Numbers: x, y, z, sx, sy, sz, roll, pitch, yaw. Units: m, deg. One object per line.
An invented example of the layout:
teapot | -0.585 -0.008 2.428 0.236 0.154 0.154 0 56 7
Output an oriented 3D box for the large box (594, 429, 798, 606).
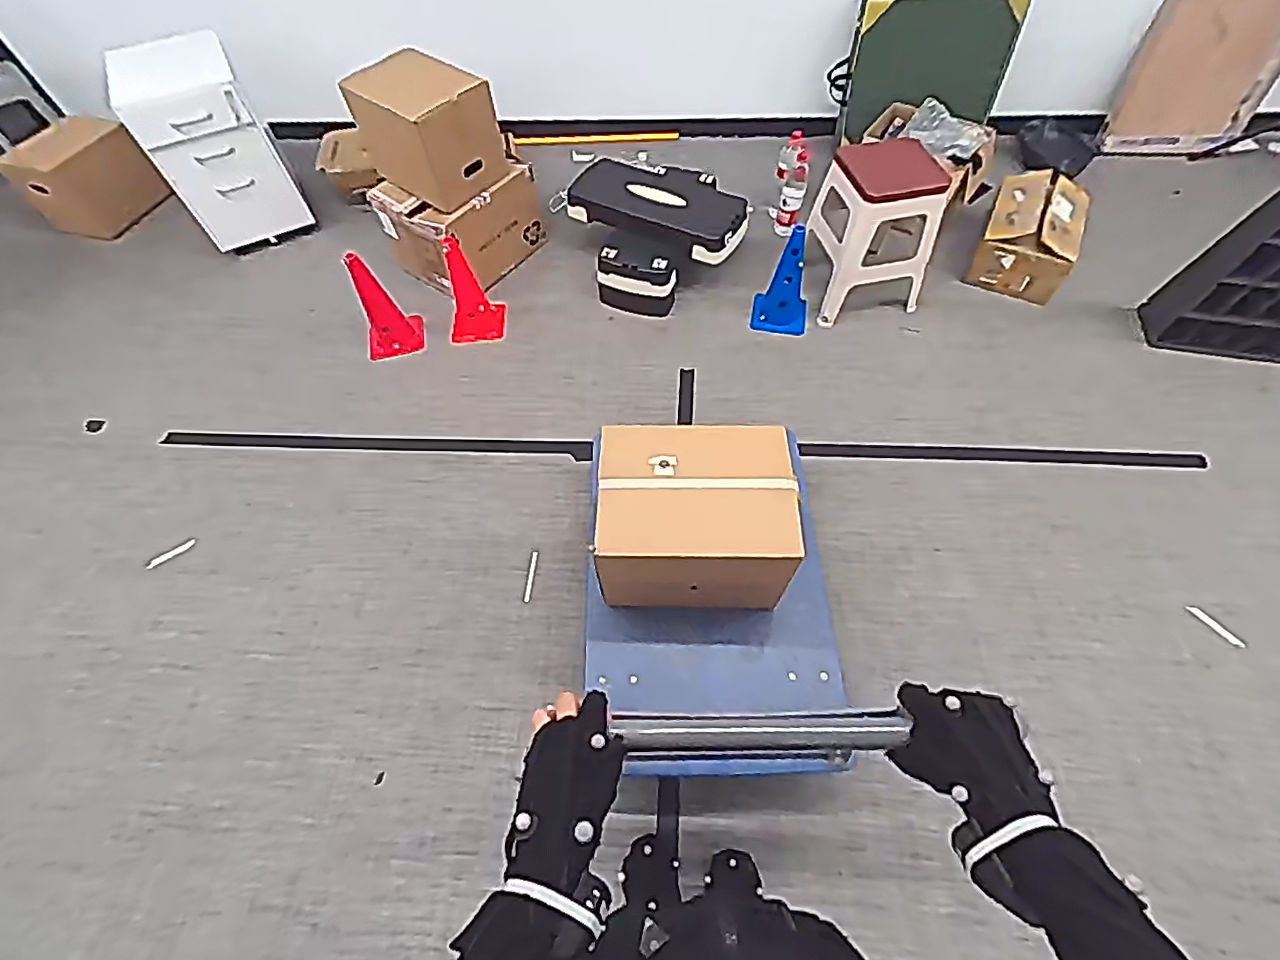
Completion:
large box | 0.116 0.099 1.250 0.408 0.320 0.320 0 59 3
